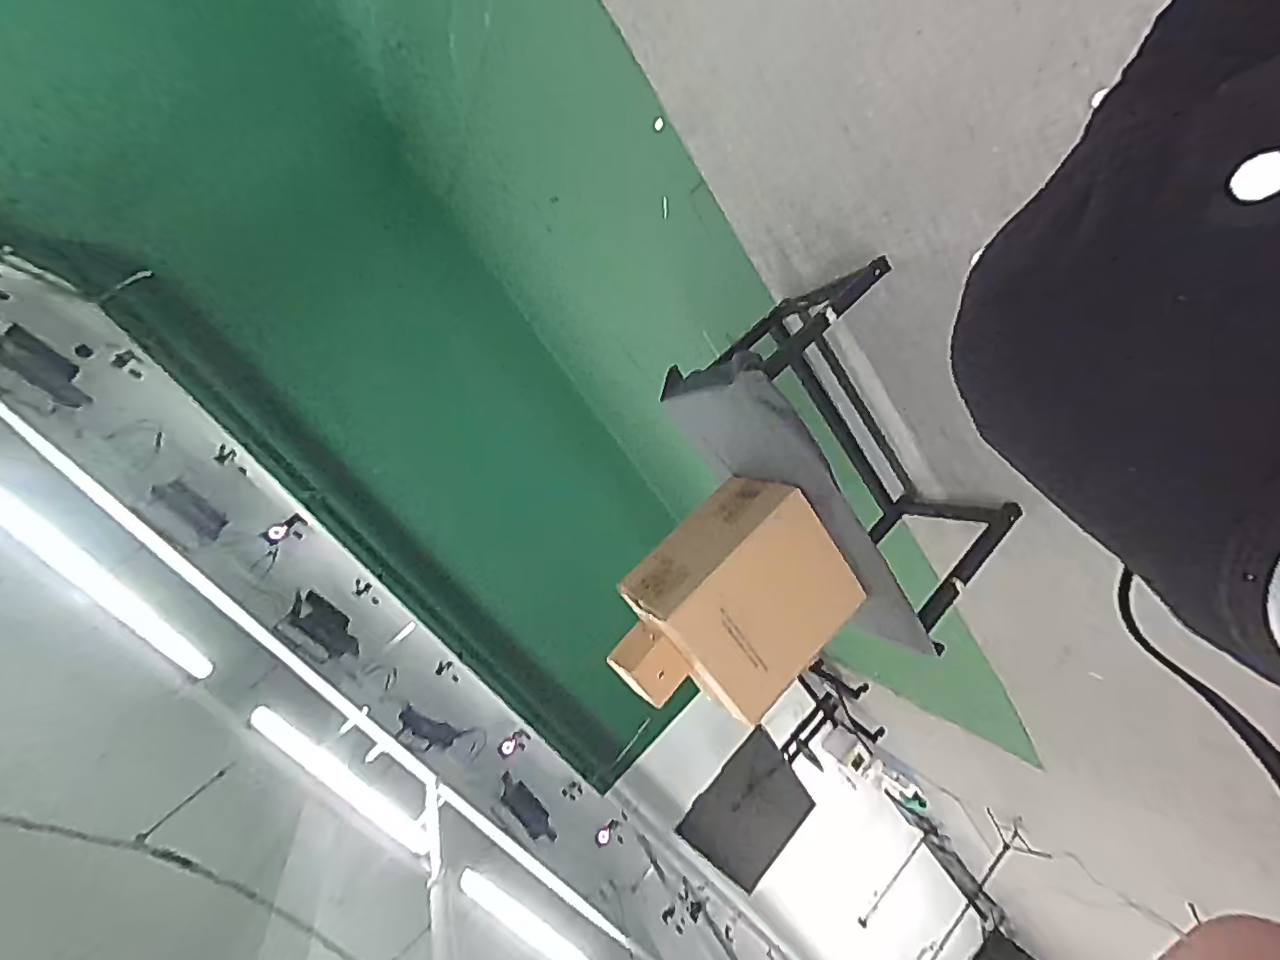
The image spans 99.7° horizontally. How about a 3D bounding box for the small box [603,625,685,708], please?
[{"bbox_3d":[0.015,0.610,1.792,0.179,0.176,0.168,53,157,-20],"label":"small box"}]
